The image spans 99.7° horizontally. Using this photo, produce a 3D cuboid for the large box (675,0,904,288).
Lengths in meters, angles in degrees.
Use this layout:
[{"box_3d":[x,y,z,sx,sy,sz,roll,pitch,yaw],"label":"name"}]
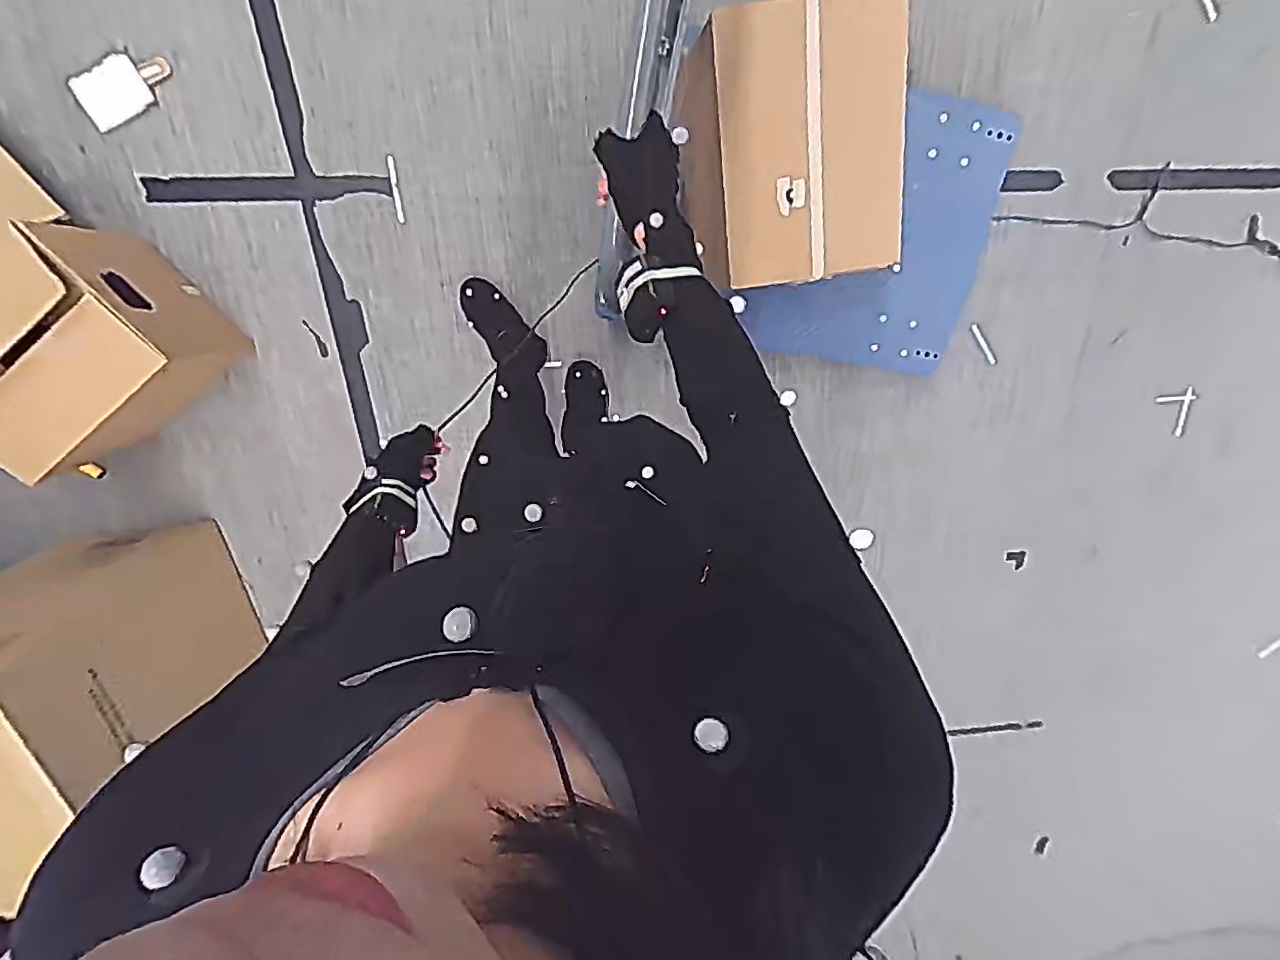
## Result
[{"box_3d":[0.265,-0.598,1.026,0.320,0.320,0.408,-9,111,-3],"label":"large box"}]
